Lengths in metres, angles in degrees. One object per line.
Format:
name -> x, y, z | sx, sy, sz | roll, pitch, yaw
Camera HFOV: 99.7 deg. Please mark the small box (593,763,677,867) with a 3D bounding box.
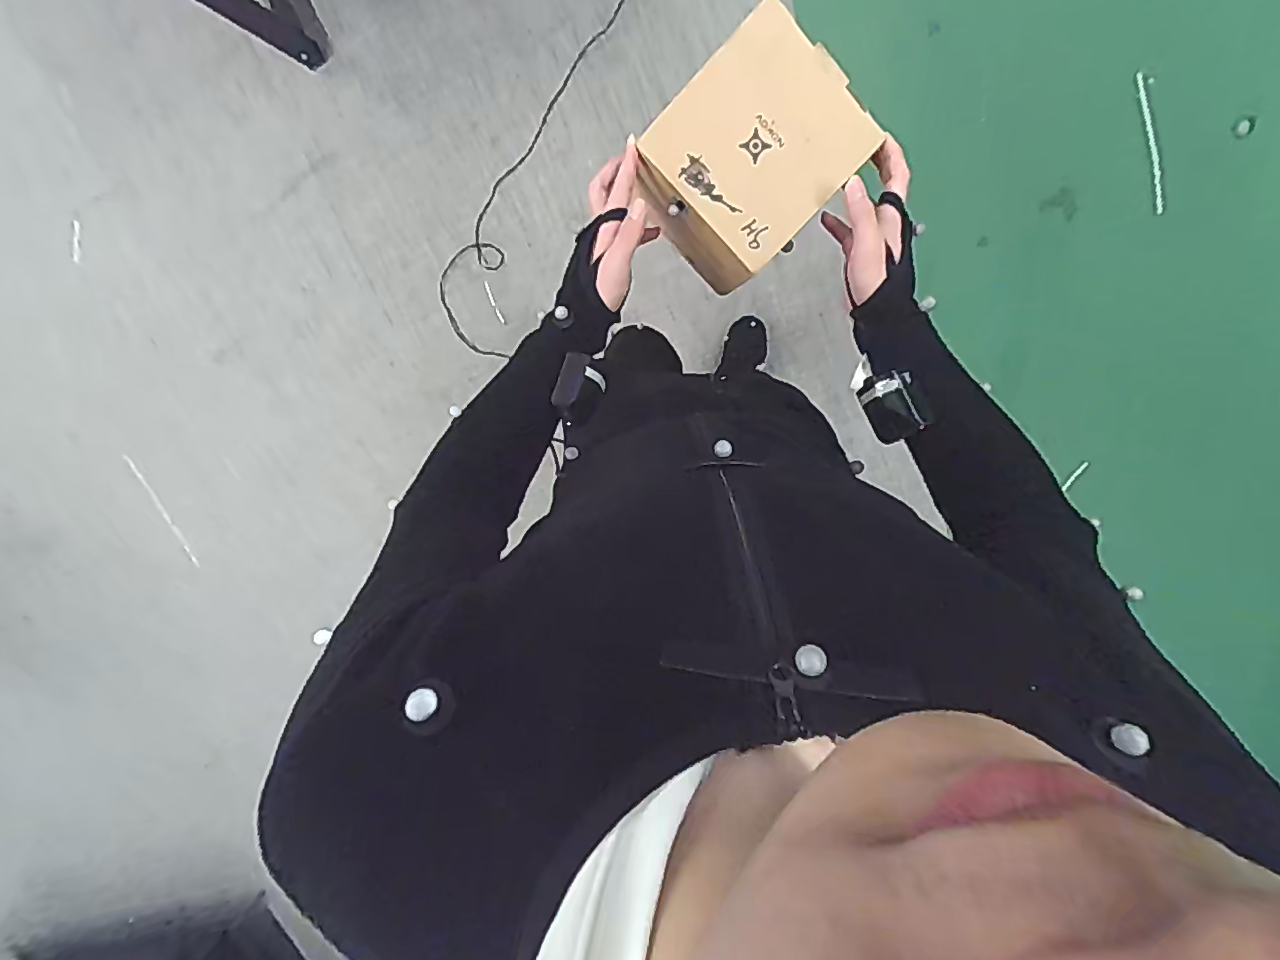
small box -> -0.005, 0.892, 1.452 | 0.179, 0.176, 0.168 | -17, 103, 13
